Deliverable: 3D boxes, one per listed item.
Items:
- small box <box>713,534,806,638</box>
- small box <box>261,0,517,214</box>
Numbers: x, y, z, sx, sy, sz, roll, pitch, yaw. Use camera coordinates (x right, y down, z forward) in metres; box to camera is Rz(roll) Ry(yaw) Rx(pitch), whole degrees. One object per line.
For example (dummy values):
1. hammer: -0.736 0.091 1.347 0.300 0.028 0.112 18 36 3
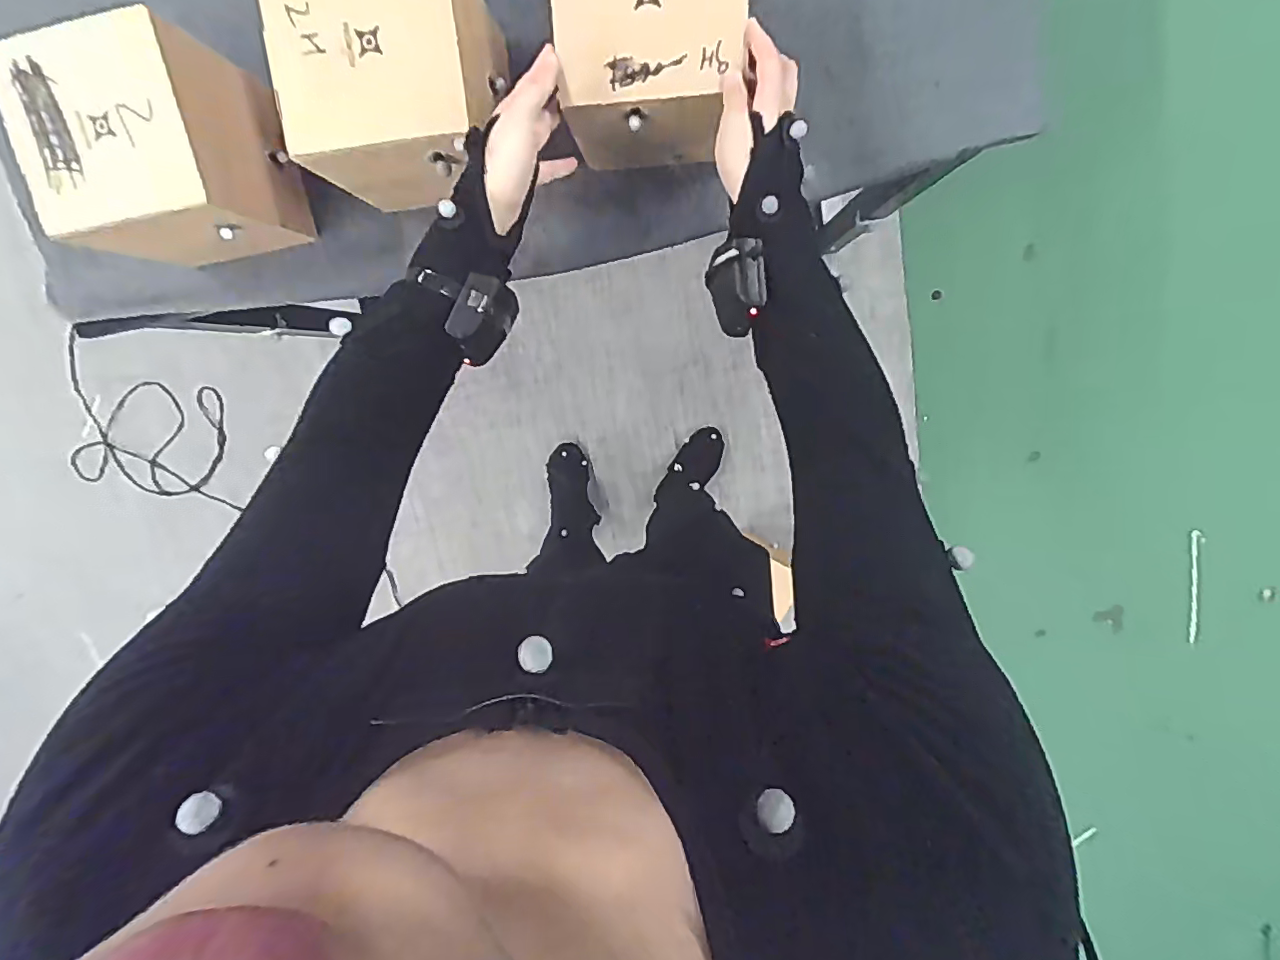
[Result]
1. small box: 0.302 0.268 1.404 0.168 0.176 0.179 28 102 -2
2. small box: -0.234 -0.389 0.552 0.179 0.176 0.168 -4 100 6
